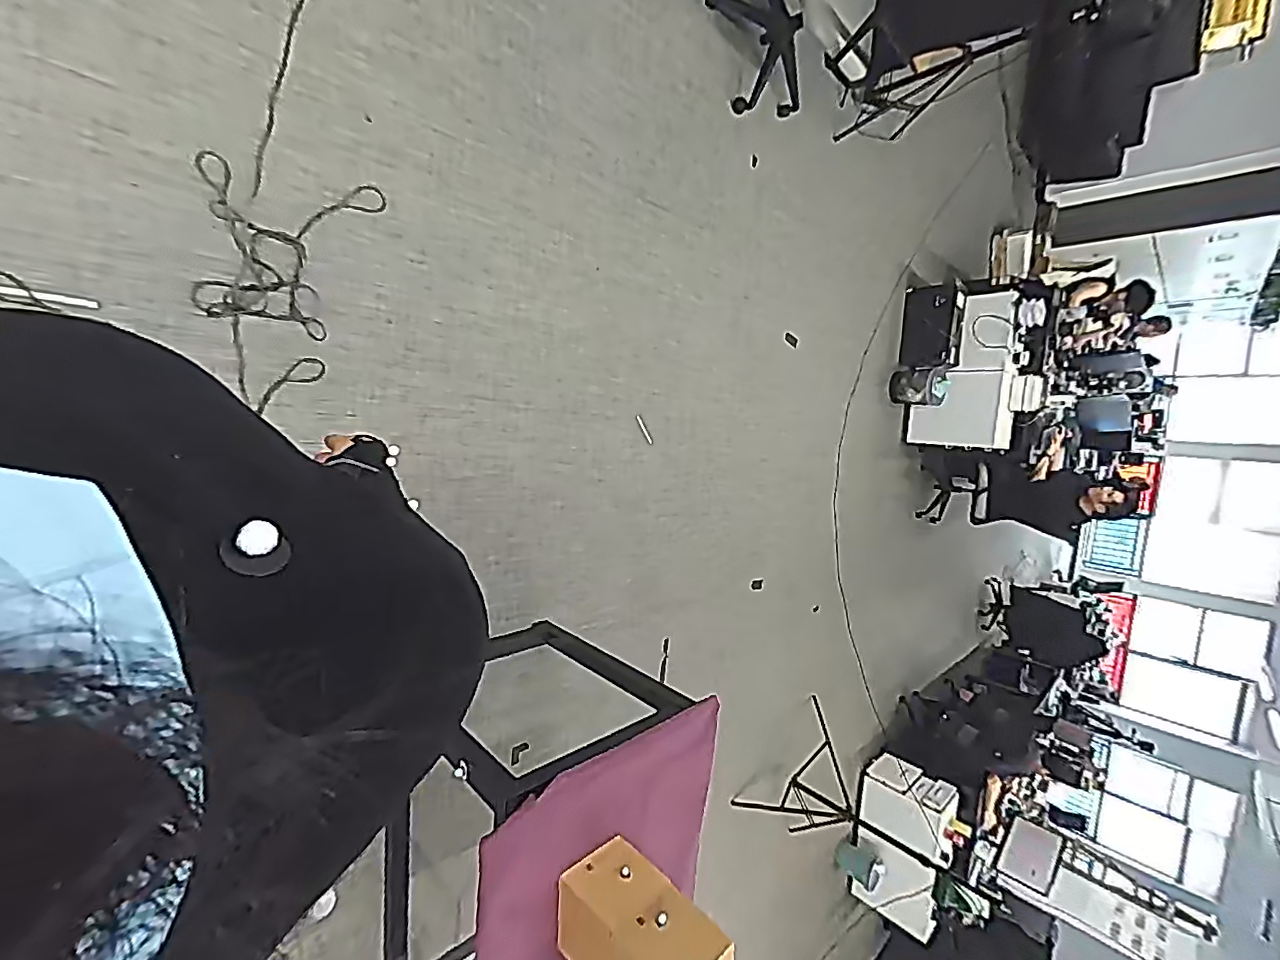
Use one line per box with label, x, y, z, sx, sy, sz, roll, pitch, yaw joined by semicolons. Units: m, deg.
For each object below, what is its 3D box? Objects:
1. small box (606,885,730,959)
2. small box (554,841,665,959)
small box;0.046;0.924;1.010;0.168;0.176;0.179;-6;101;-45
small box;-0.066;0.901;1.128;0.168;0.176;0.179;-6;102;-44
